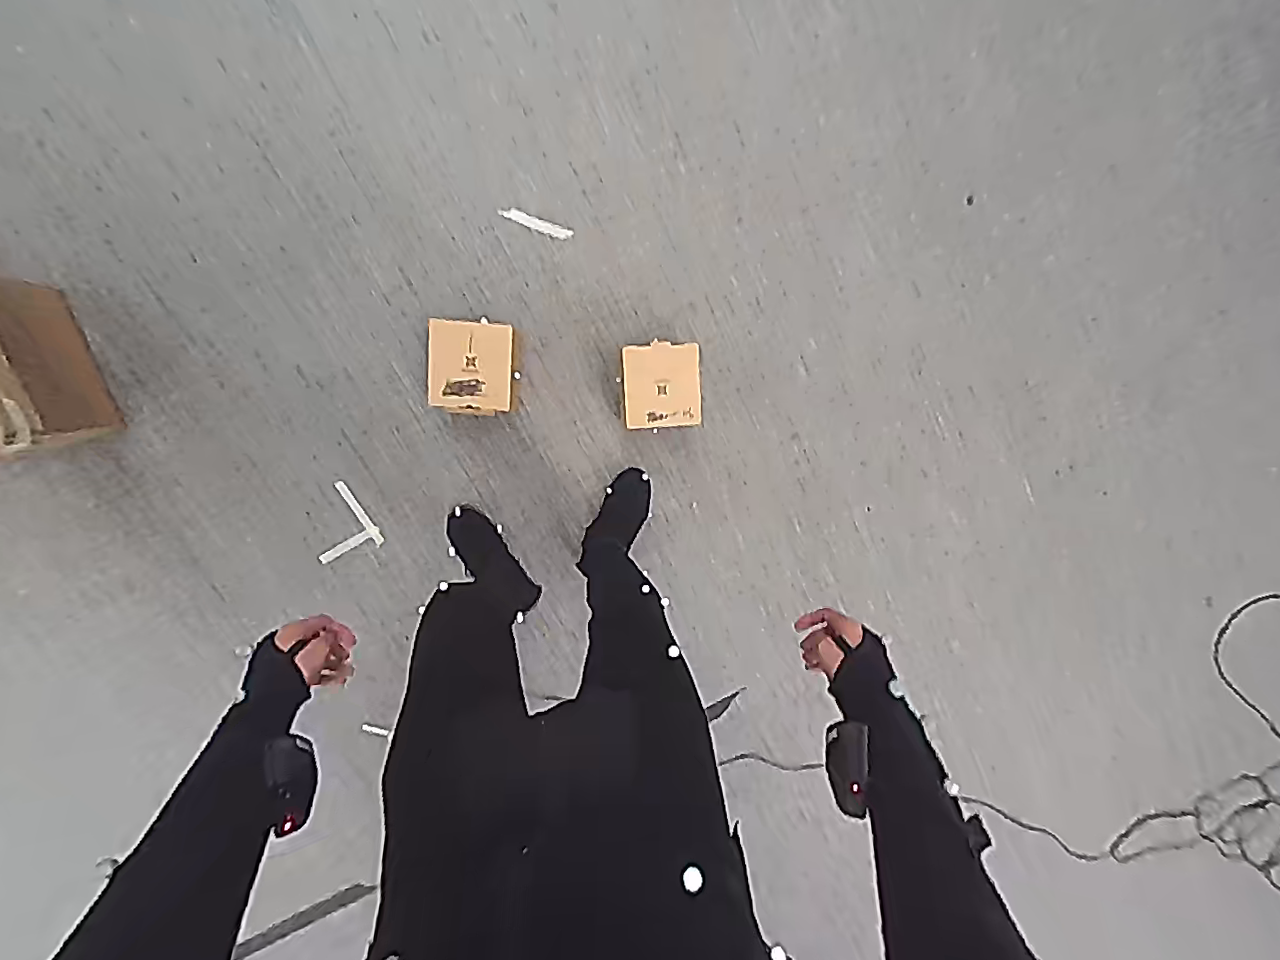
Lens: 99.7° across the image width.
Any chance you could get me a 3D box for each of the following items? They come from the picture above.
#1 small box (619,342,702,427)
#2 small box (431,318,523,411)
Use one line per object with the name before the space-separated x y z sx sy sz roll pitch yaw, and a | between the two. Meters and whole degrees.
small box | 0.042 -0.214 1.229 0.168 0.176 0.179 -3 100 -5
small box | -0.350 -0.249 1.180 0.168 0.176 0.179 3 100 -7
